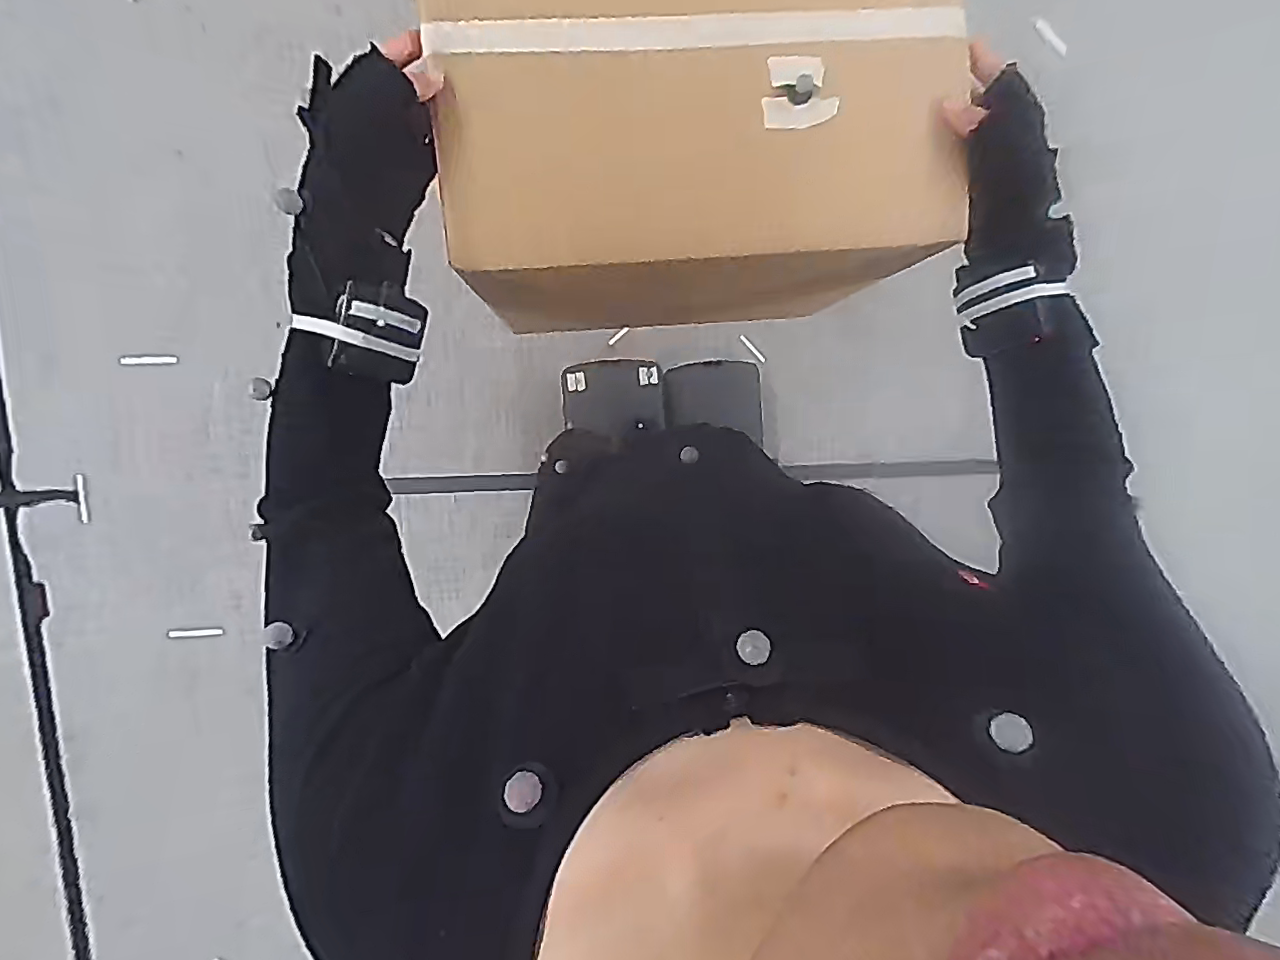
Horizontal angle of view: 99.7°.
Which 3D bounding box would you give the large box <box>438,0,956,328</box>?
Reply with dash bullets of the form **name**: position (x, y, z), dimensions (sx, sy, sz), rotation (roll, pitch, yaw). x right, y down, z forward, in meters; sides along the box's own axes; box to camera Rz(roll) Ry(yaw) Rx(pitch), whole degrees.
- **large box**: position (0.037, -0.351, 0.560), dimensions (0.408, 0.320, 0.320), rotation (-5, 97, -5)
